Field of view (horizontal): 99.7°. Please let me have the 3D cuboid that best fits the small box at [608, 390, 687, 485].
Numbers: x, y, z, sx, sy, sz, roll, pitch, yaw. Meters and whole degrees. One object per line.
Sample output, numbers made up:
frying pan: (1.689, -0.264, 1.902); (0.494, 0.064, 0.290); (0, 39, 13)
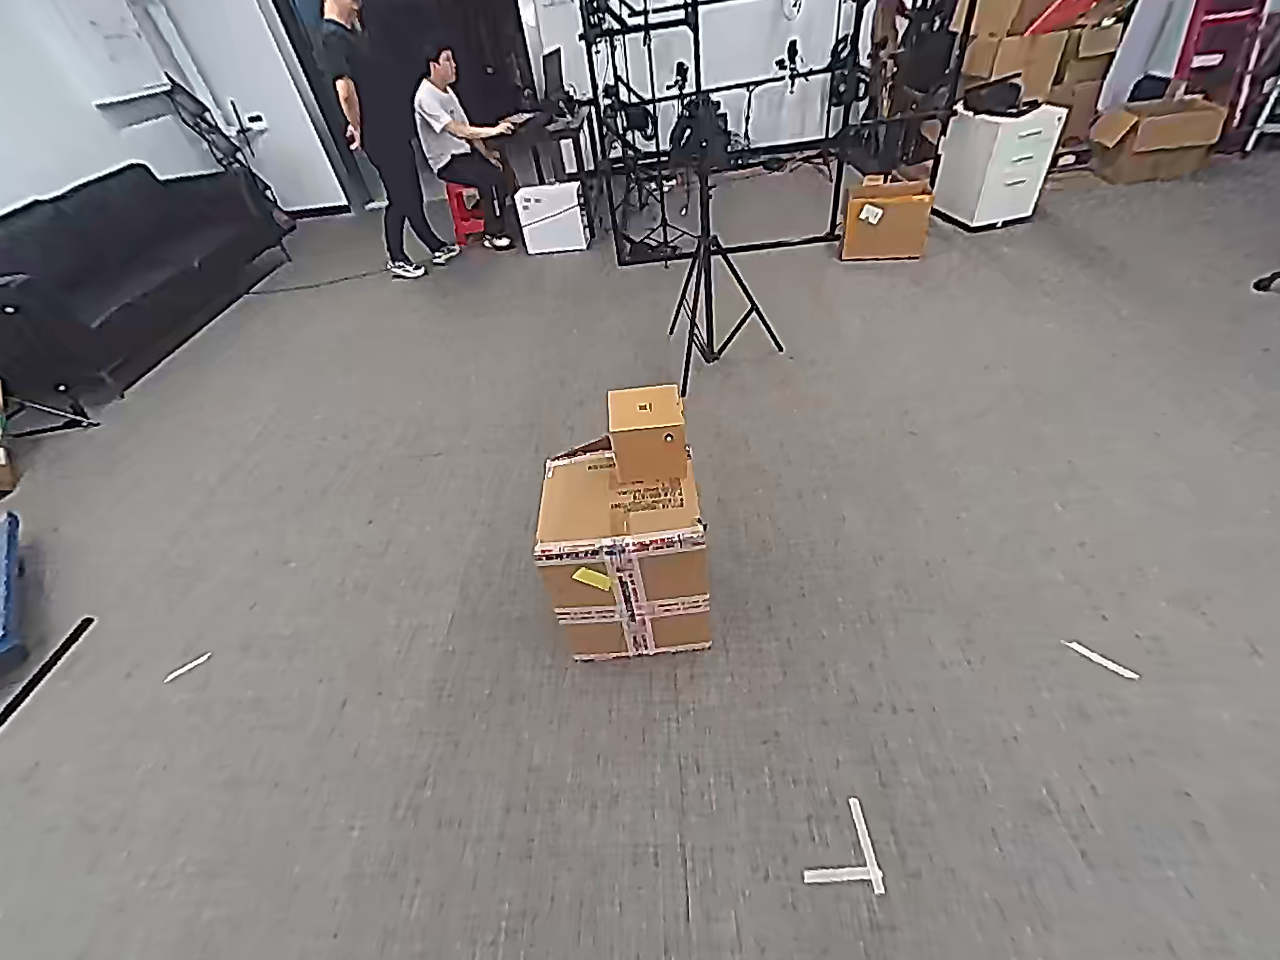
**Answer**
small box: (0.019, -0.101, 1.349); (0.179, 0.176, 0.168); (-6, 44, 0)
